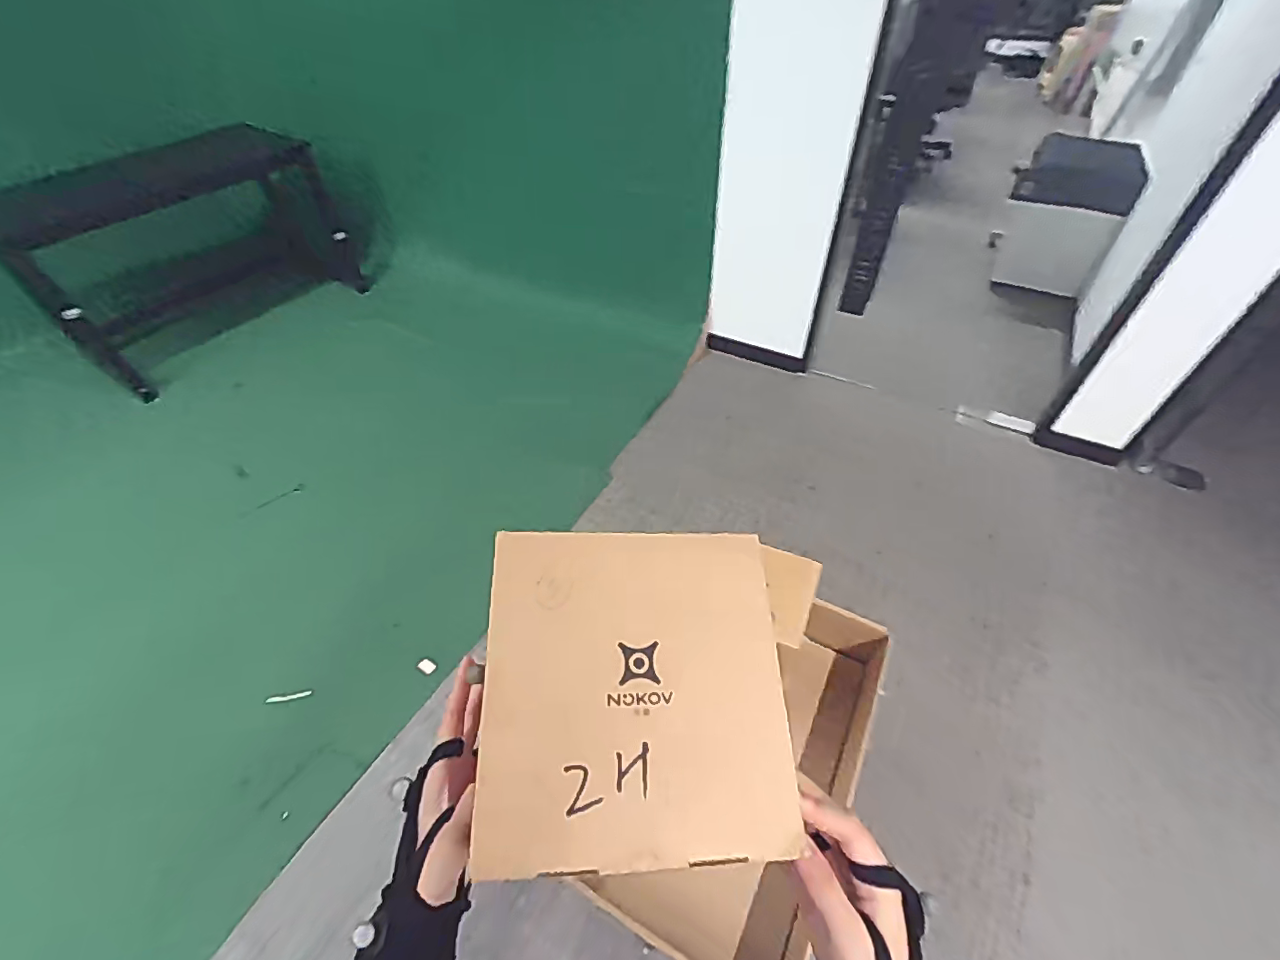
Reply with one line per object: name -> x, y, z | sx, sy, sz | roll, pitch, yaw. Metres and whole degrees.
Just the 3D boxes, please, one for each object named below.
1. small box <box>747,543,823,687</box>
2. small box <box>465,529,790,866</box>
small box -> 0.194, 0.231, 0.931 | 0.179, 0.176, 0.168 | 17, 51, 18
small box -> -0.017, 0.147, 0.375 | 0.168, 0.176, 0.179 | 1, 62, -8
